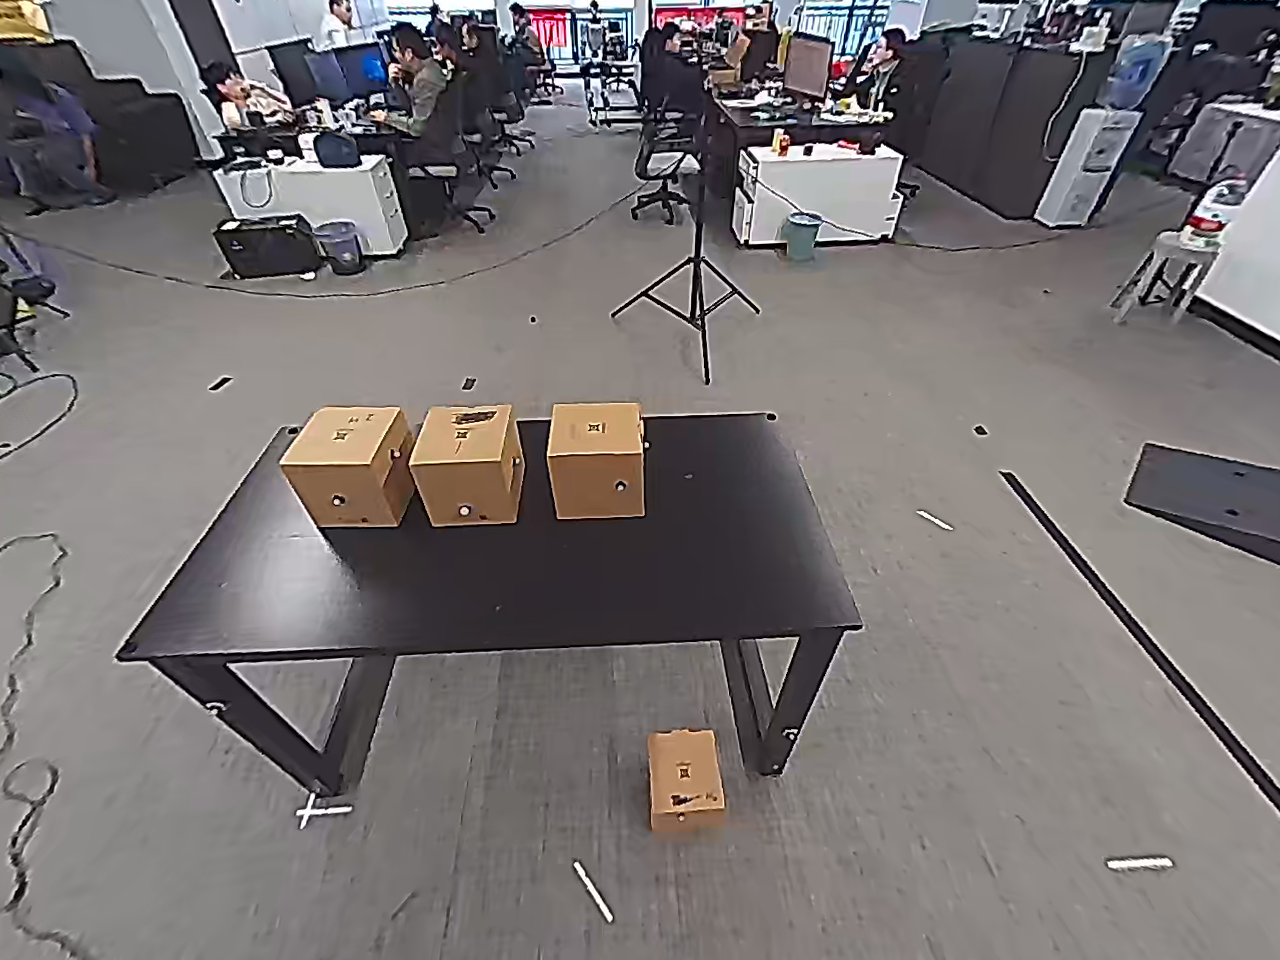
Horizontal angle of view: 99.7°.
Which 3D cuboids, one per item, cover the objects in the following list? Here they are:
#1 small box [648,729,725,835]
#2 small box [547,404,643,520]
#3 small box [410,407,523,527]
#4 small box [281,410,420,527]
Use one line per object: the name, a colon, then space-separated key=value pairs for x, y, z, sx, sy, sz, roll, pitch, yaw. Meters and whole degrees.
small box: x=0.106 y=0.735 z=1.316 sx=0.168 sy=0.176 sz=0.179 roll=-4 pitch=42 yaw=-2
small box: x=-0.083 y=-0.035 z=1.085 sx=0.179 sy=0.176 sz=0.168 roll=-3 pitch=41 yaw=-1
small box: x=-0.332 y=-0.026 z=1.076 sx=0.168 sy=0.176 sz=0.179 roll=-3 pitch=43 yaw=-2
small box: x=-0.556 y=-0.021 z=1.073 sx=0.168 sy=0.176 sz=0.179 roll=0 pitch=42 yaw=0
